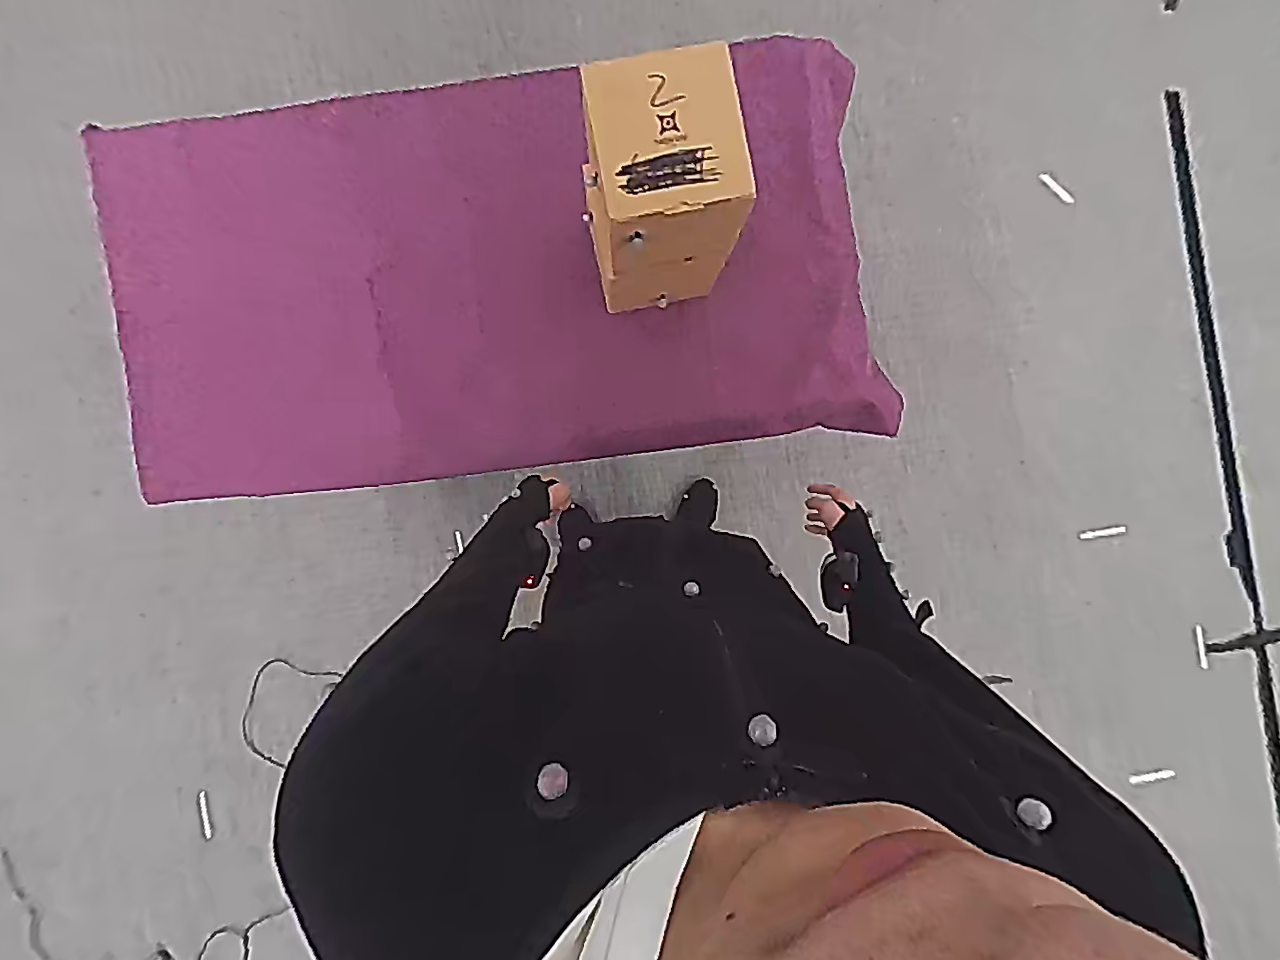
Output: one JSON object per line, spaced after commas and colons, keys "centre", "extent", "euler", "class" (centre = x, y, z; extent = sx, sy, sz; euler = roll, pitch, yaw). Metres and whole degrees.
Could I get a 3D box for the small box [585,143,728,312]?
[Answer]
{"centre": [0.018, -0.371, 0.823], "extent": [0.179, 0.176, 0.168], "euler": [-12, 91, -3], "class": "small box"}
